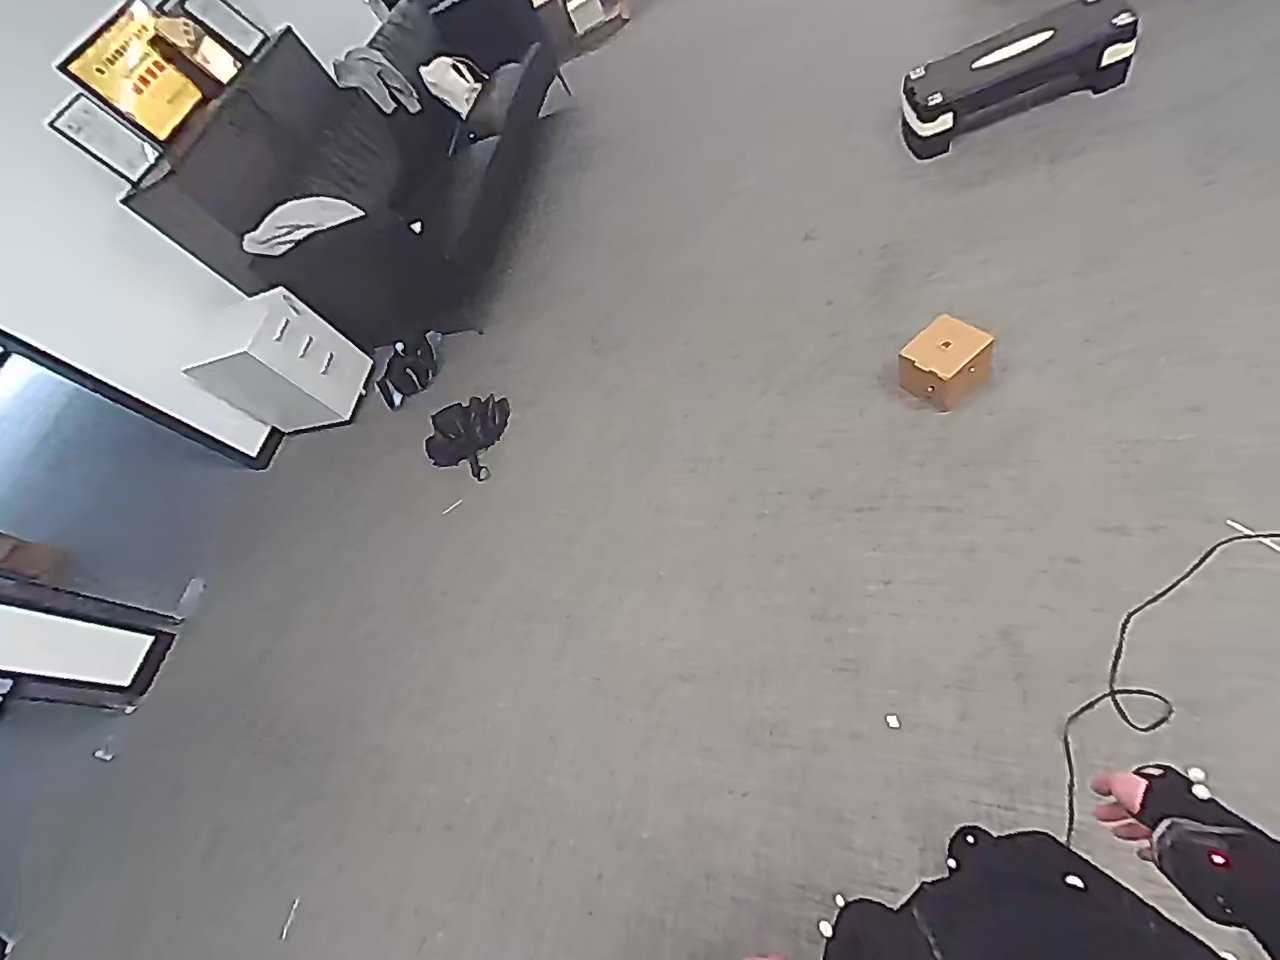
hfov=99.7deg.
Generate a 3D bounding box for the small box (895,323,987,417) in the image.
[{"bbox_3d":[0.882,-0.319,1.593,0.179,0.176,0.168,-42,53,-2],"label":"small box"}]
